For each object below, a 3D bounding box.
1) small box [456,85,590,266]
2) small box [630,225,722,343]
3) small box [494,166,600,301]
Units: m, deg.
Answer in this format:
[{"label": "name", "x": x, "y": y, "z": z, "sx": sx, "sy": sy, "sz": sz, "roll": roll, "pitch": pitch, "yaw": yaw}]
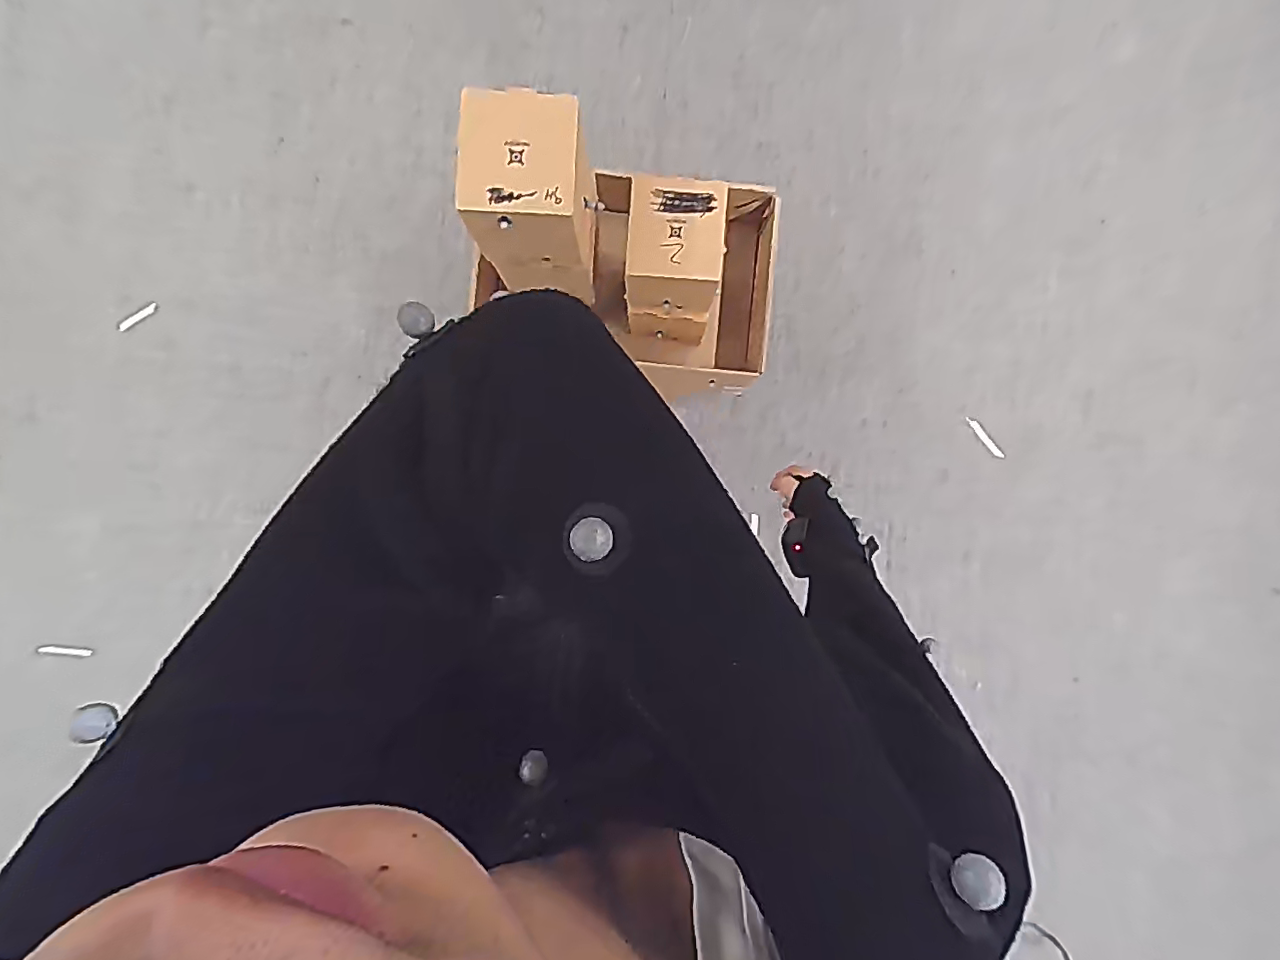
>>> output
[{"label": "small box", "x": -0.168, "y": -0.454, "z": 0.827, "sx": 0.168, "sy": 0.176, "sz": 0.179, "roll": 3, "pitch": 88, "yaw": 0}, {"label": "small box", "x": 0.071, "y": -0.412, "z": 1.158, "sx": 0.168, "sy": 0.176, "sz": 0.179, "roll": 8, "pitch": 89, "yaw": 1}, {"label": "small box", "x": -0.163, "y": -0.449, "z": 0.992, "sx": 0.168, "sy": 0.176, "sz": 0.179, "roll": 3, "pitch": 89, "yaw": 0}]
